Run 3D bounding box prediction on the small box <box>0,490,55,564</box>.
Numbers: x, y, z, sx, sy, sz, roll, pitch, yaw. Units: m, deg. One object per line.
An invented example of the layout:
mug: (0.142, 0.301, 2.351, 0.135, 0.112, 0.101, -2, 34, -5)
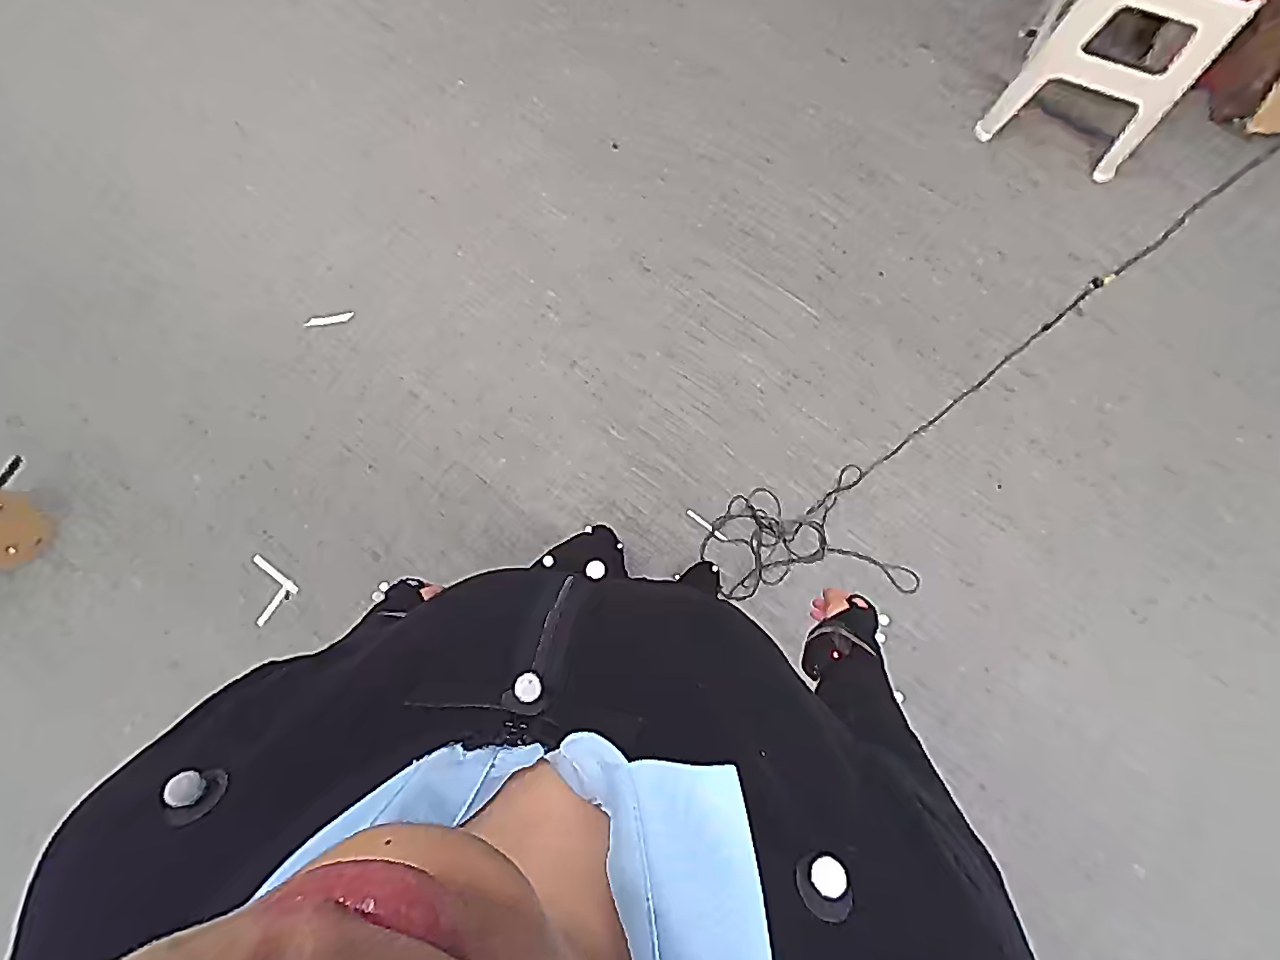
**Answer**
small box: (-1.925, 0.138, 1.605, 0.179, 0.176, 0.168, 40, 88, 9)
